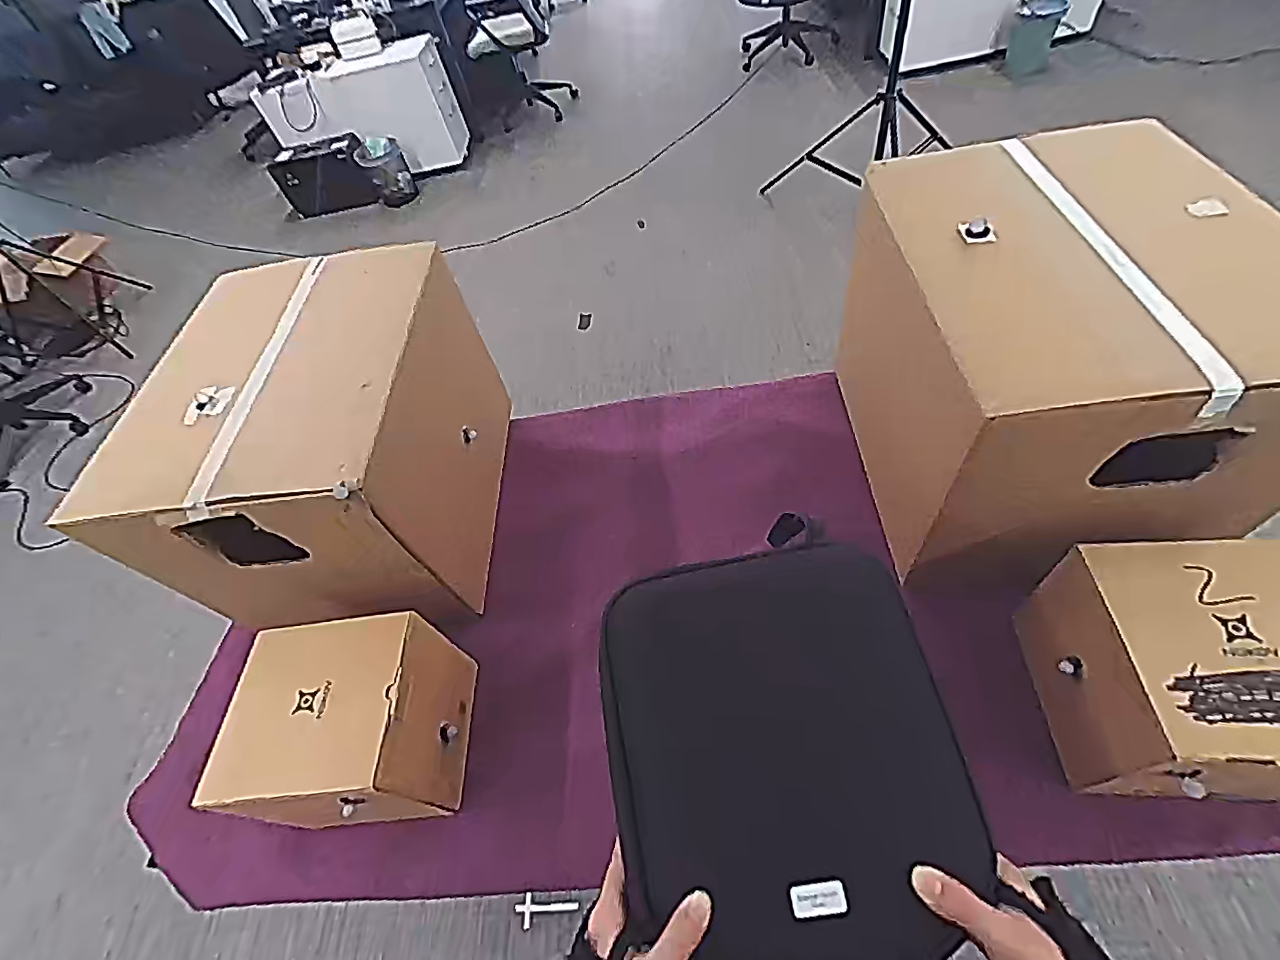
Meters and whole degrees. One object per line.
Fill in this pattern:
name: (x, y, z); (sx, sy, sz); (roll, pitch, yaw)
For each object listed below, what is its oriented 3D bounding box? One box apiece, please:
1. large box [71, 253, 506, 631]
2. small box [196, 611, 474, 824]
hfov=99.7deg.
large box: (-0.389, -0.040, 0.737); (0.320, 0.320, 0.408); (-8, 55, 5)
small box: (-0.304, 0.262, 0.585); (0.179, 0.176, 0.168); (-9, 51, 5)
